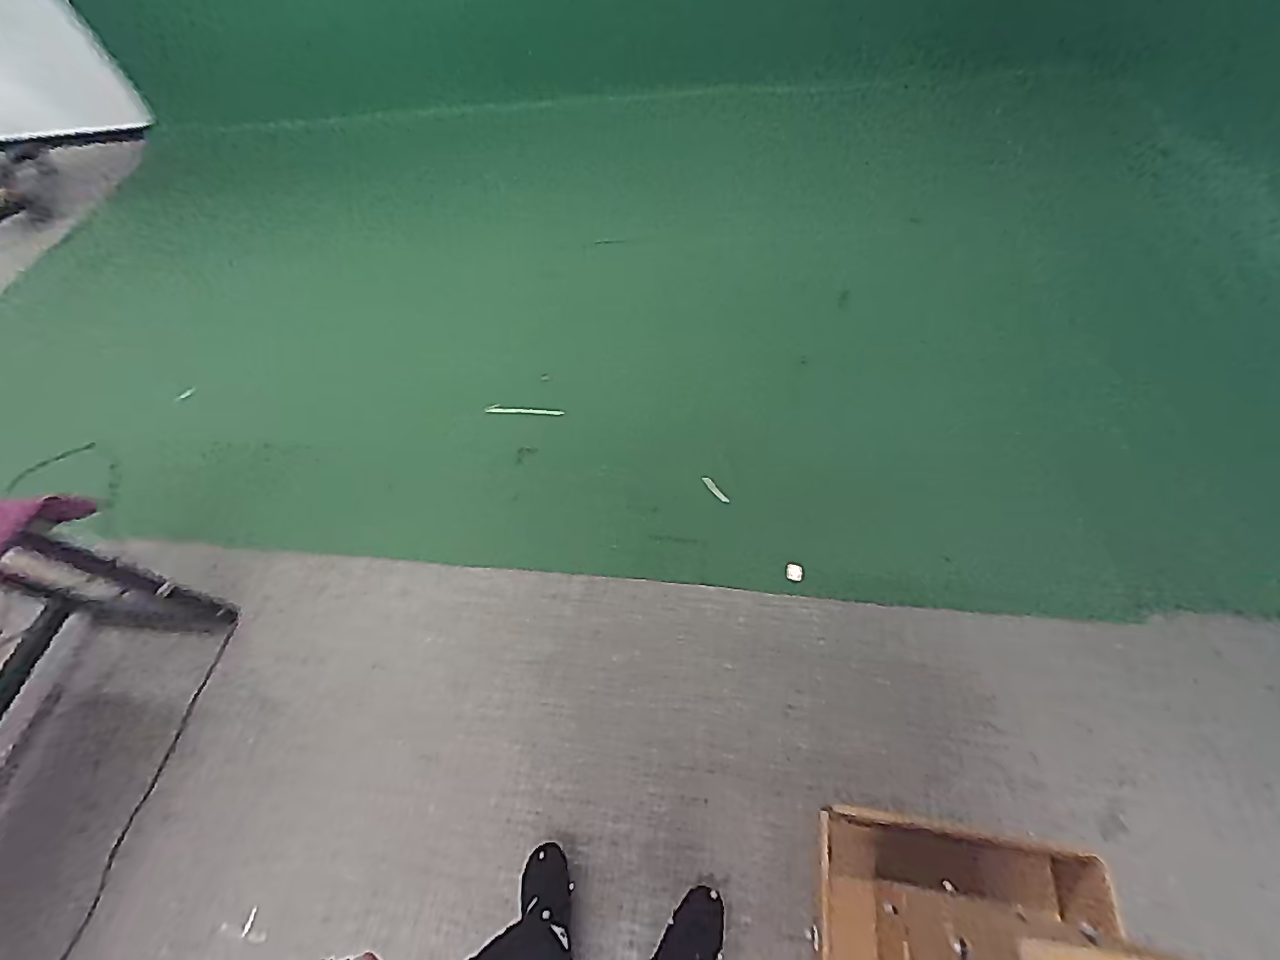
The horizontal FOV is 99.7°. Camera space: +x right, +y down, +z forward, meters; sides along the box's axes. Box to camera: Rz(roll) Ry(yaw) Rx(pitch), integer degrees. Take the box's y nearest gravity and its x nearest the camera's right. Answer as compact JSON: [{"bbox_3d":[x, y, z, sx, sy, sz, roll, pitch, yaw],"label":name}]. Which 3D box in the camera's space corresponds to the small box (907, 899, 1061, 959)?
[{"bbox_3d":[0.438,0.620,0.637,0.179,0.176,0.168,5,59,10],"label":"small box"}]

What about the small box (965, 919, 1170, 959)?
[{"bbox_3d":[0.427,0.532,0.498,0.179,0.176,0.168,4,60,9],"label":"small box"}]
